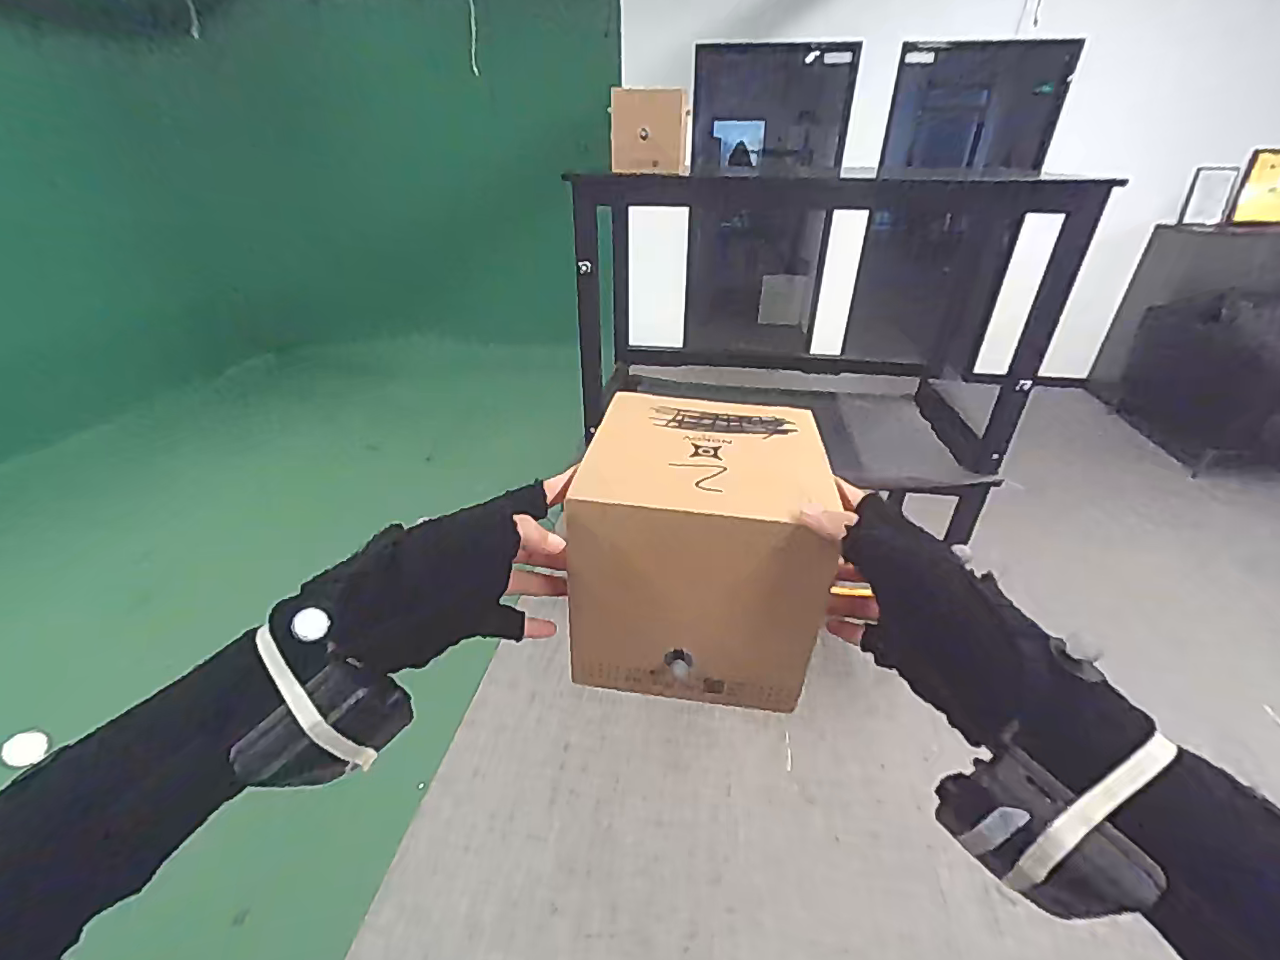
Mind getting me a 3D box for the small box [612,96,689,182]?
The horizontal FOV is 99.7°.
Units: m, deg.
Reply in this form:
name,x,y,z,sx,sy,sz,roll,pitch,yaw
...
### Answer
name,x,y,z,sx,sy,sz,roll,pitch,yaw
small box,0.030,-0.830,1.323,0.168,0.176,0.179,5,31,7
